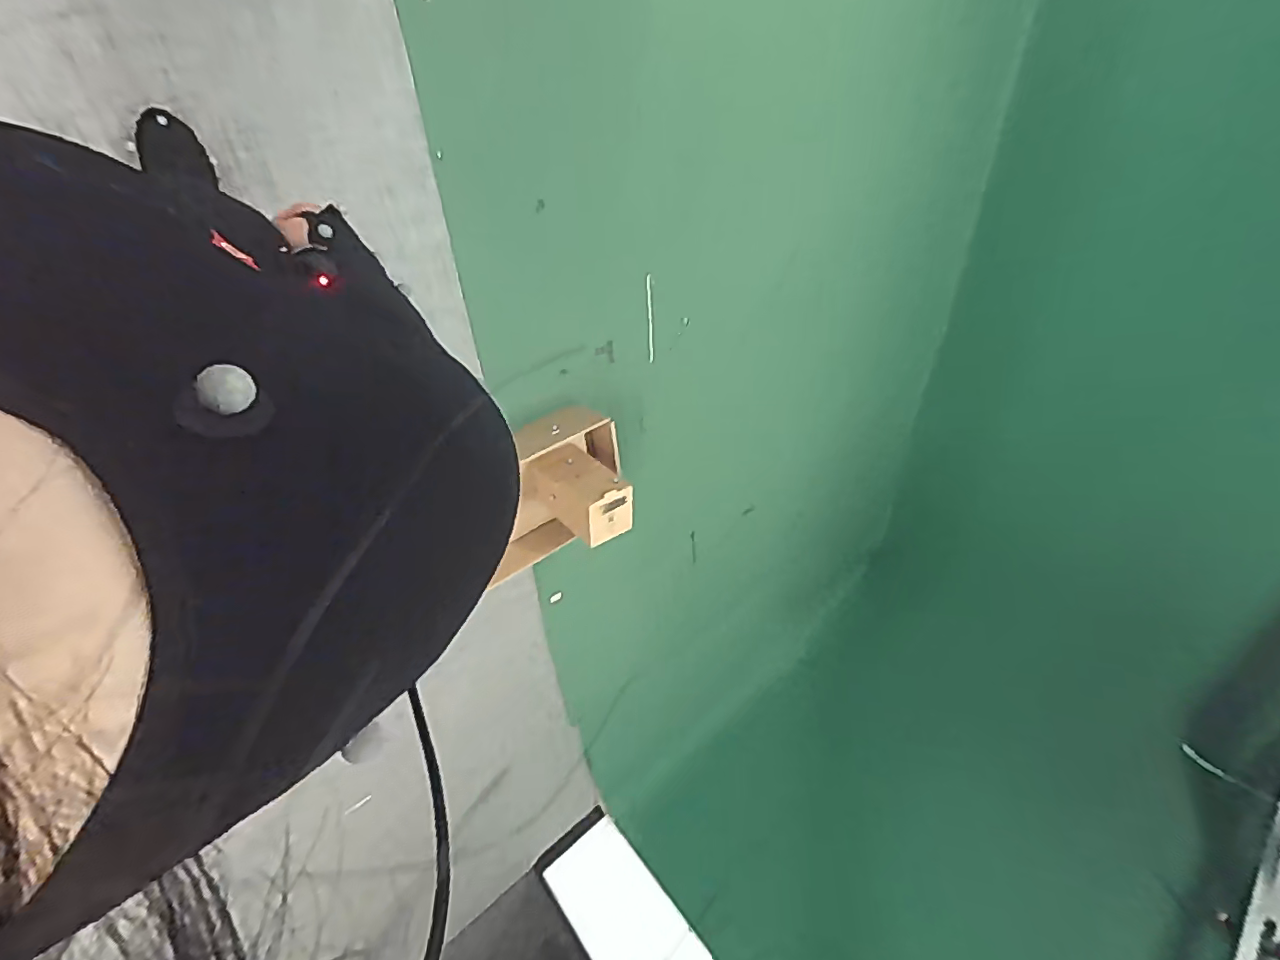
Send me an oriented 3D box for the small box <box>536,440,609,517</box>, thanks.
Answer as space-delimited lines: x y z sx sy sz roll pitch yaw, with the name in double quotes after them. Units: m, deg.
-0.229 -0.012 1.835 0.179 0.176 0.168 -28 133 -28 "small box"
